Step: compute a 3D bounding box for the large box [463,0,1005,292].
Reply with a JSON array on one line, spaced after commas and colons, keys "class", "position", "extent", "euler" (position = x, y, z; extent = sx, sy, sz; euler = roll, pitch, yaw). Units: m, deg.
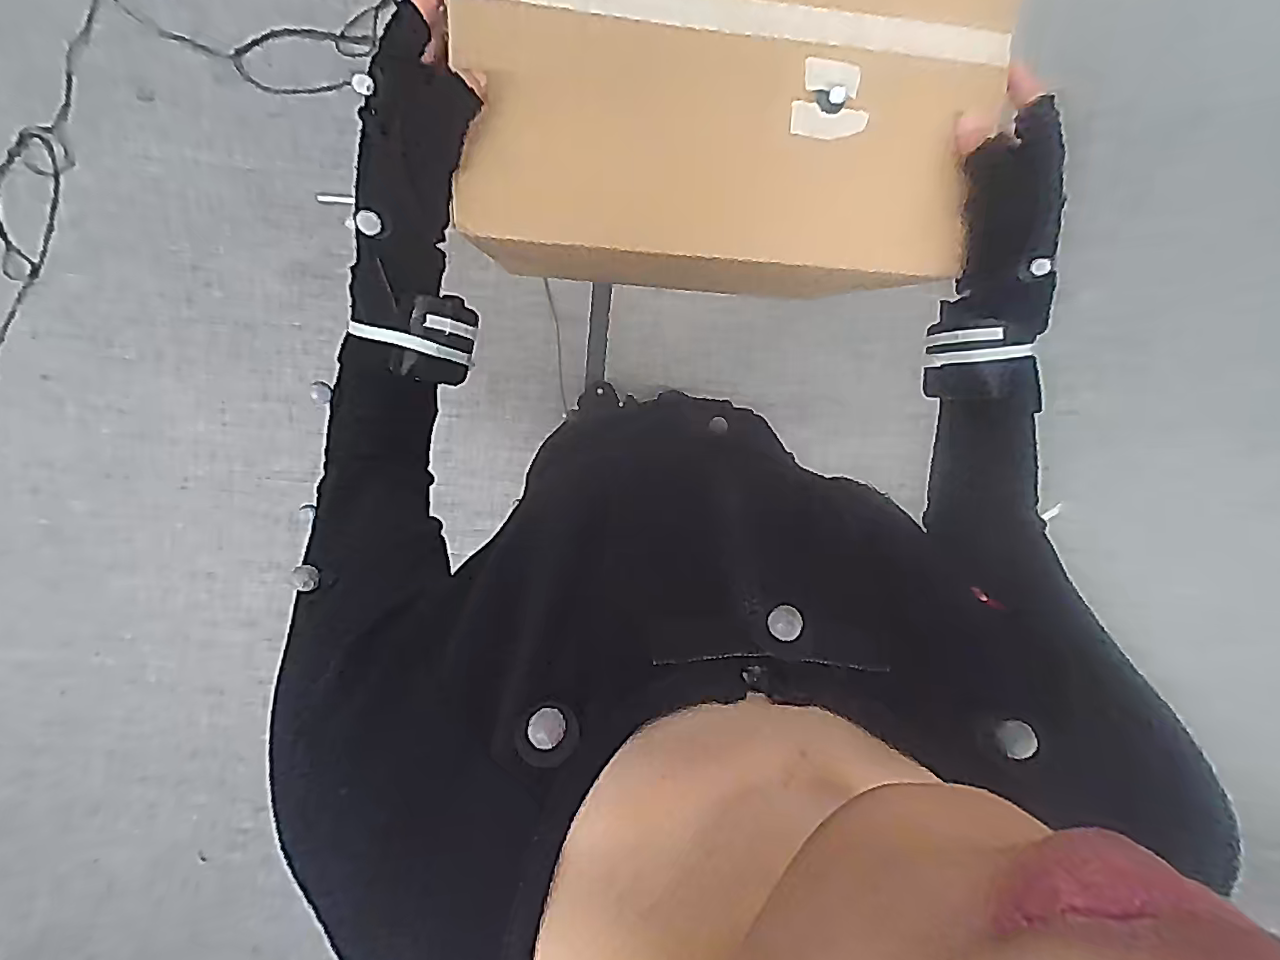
[{"class": "large box", "position": [0.055, -0.368, 0.534], "extent": [0.408, 0.320, 0.320], "euler": [1, 106, -8]}]
